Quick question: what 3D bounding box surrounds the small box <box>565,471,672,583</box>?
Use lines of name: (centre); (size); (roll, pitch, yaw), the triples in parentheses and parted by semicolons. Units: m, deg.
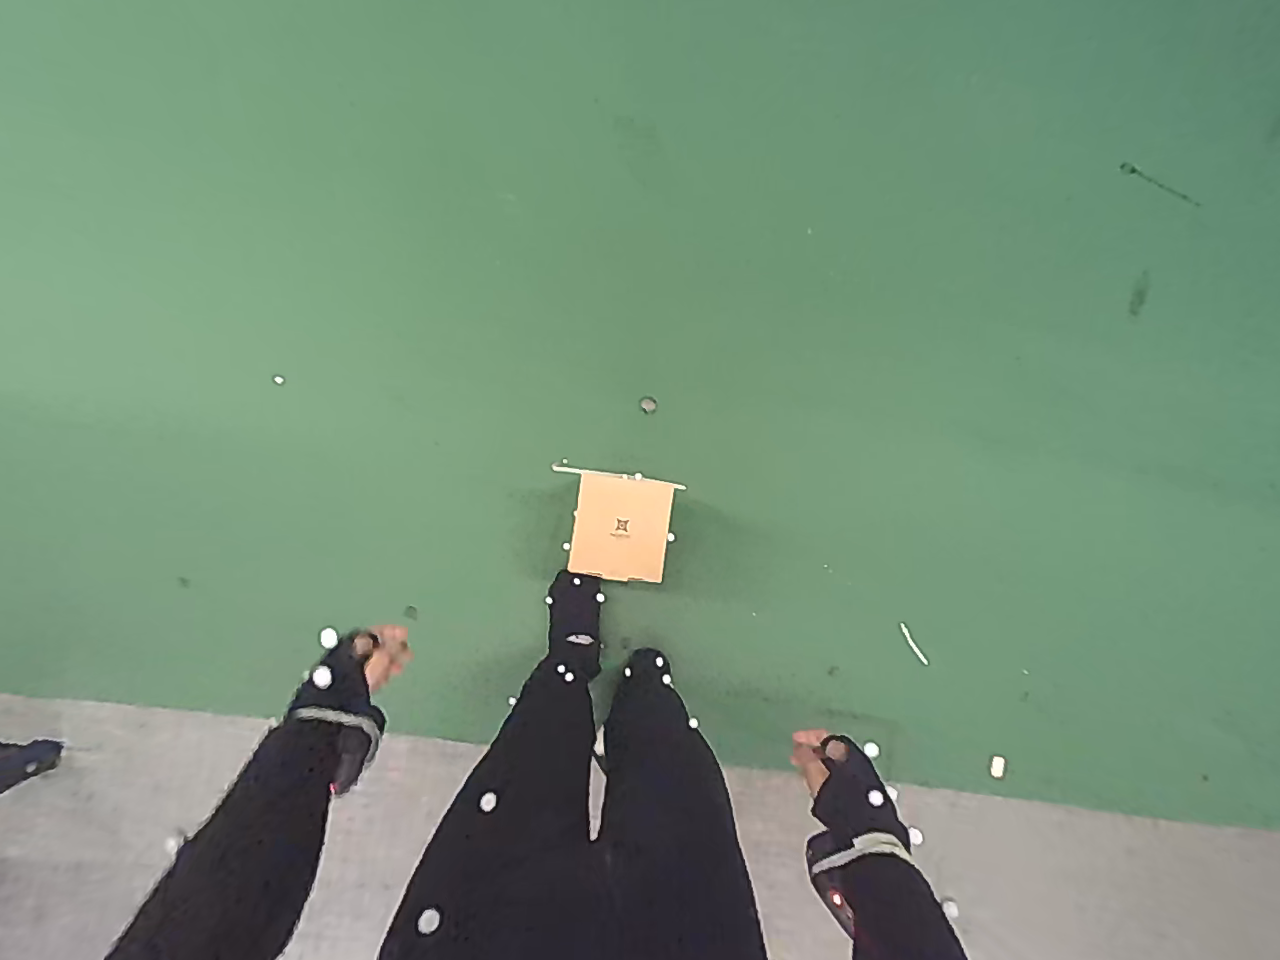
small box: (-0.045, 0.083, 1.013); (0.168, 0.176, 0.179); (9, 89, -5)
